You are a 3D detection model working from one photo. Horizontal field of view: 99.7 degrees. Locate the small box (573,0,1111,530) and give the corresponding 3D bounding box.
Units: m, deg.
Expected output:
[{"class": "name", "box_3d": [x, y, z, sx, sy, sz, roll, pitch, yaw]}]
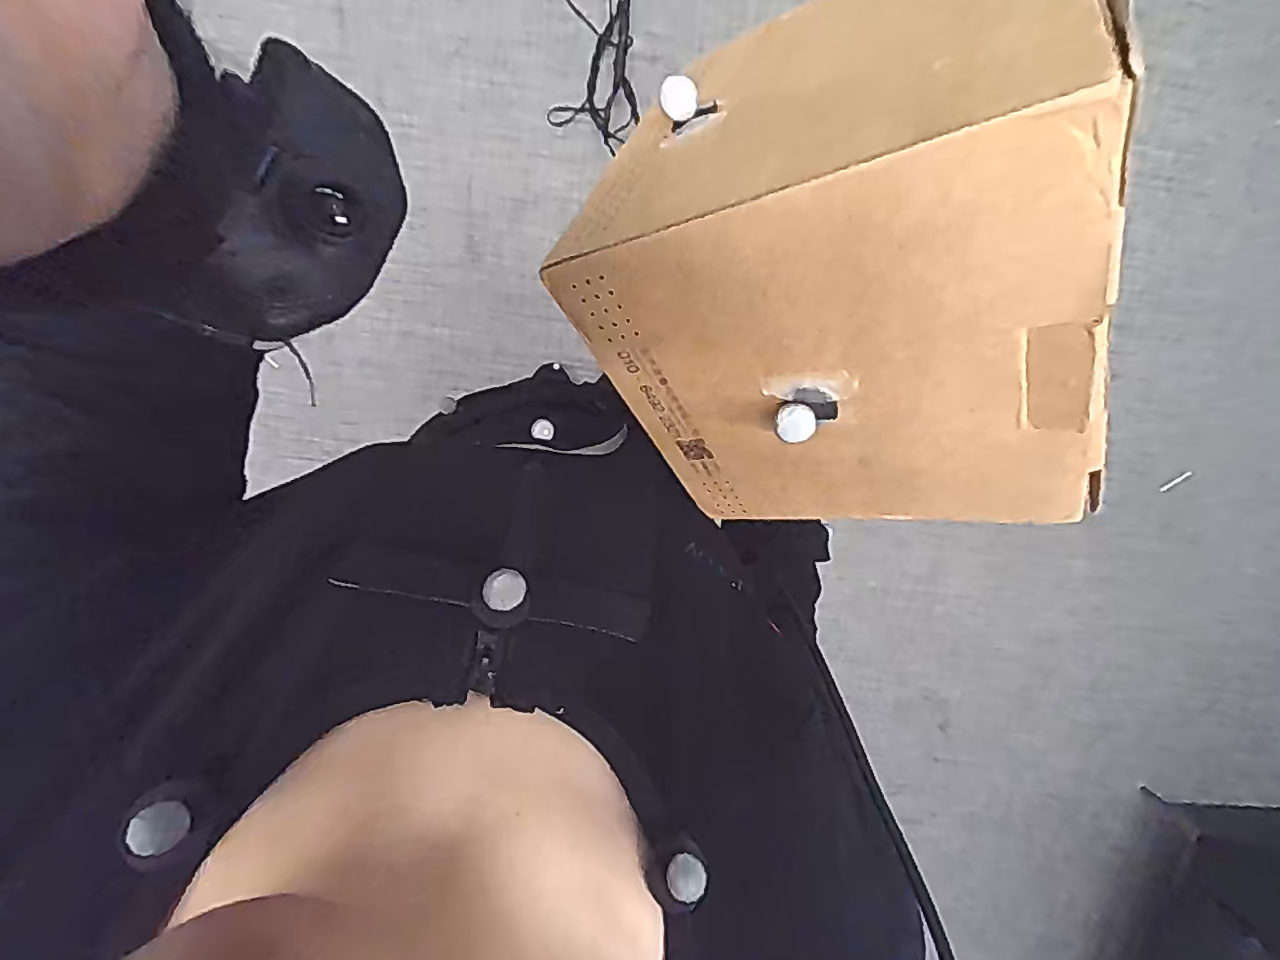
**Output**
[{"class": "small box", "box_3d": [0.094, -0.094, 0.250, 0.176, 0.179, 0.168, -2, 142, 35]}]
